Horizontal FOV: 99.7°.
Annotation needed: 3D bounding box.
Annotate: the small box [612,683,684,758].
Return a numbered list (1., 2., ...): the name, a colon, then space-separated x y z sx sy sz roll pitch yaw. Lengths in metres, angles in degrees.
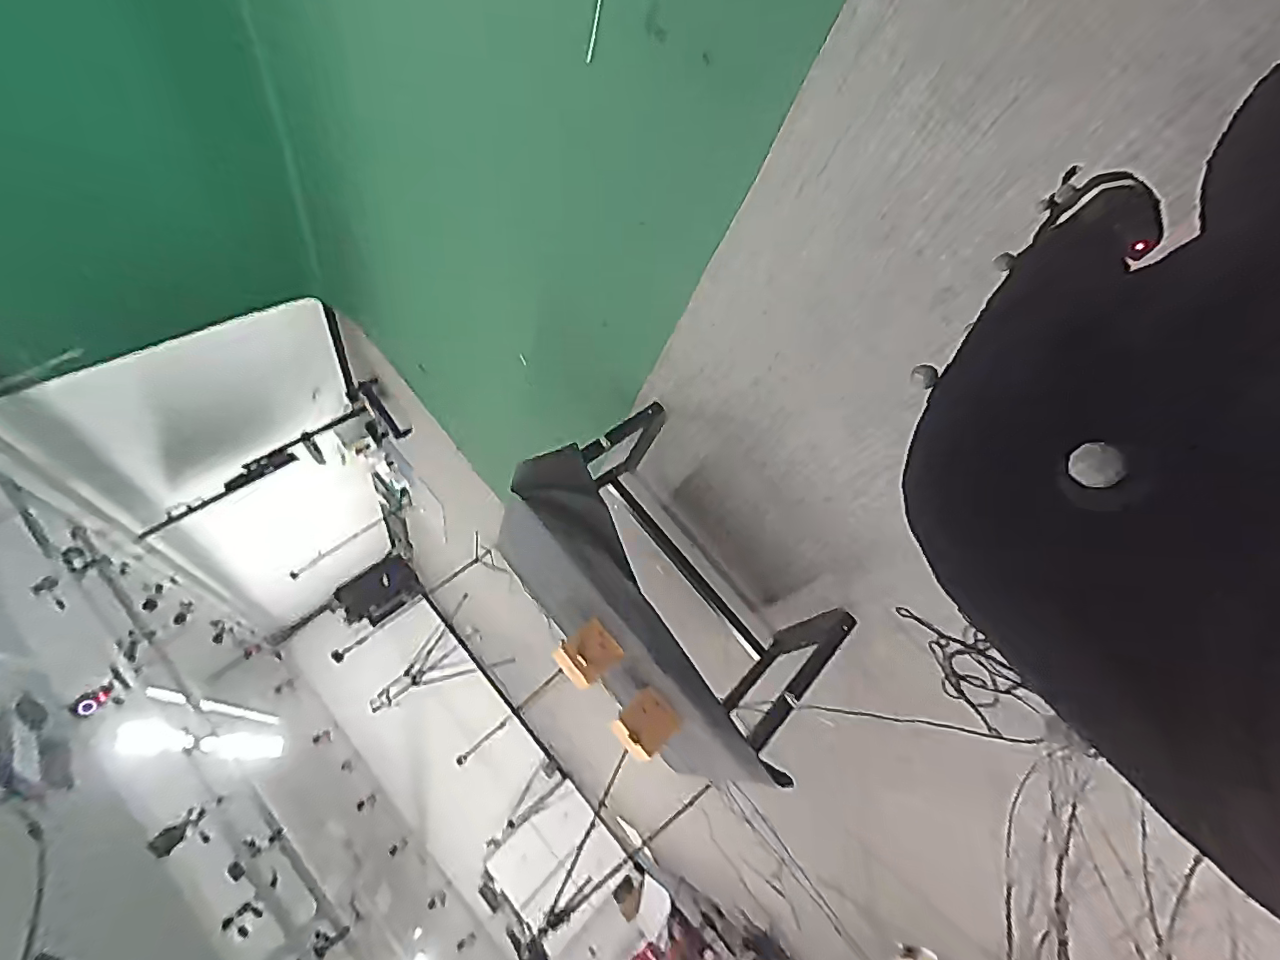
1. small box: 0.029 0.833 1.878 0.168 0.176 0.179 47 150 15

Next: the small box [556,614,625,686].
1. small box: -0.175 0.608 1.934 0.168 0.176 0.179 49 149 9
